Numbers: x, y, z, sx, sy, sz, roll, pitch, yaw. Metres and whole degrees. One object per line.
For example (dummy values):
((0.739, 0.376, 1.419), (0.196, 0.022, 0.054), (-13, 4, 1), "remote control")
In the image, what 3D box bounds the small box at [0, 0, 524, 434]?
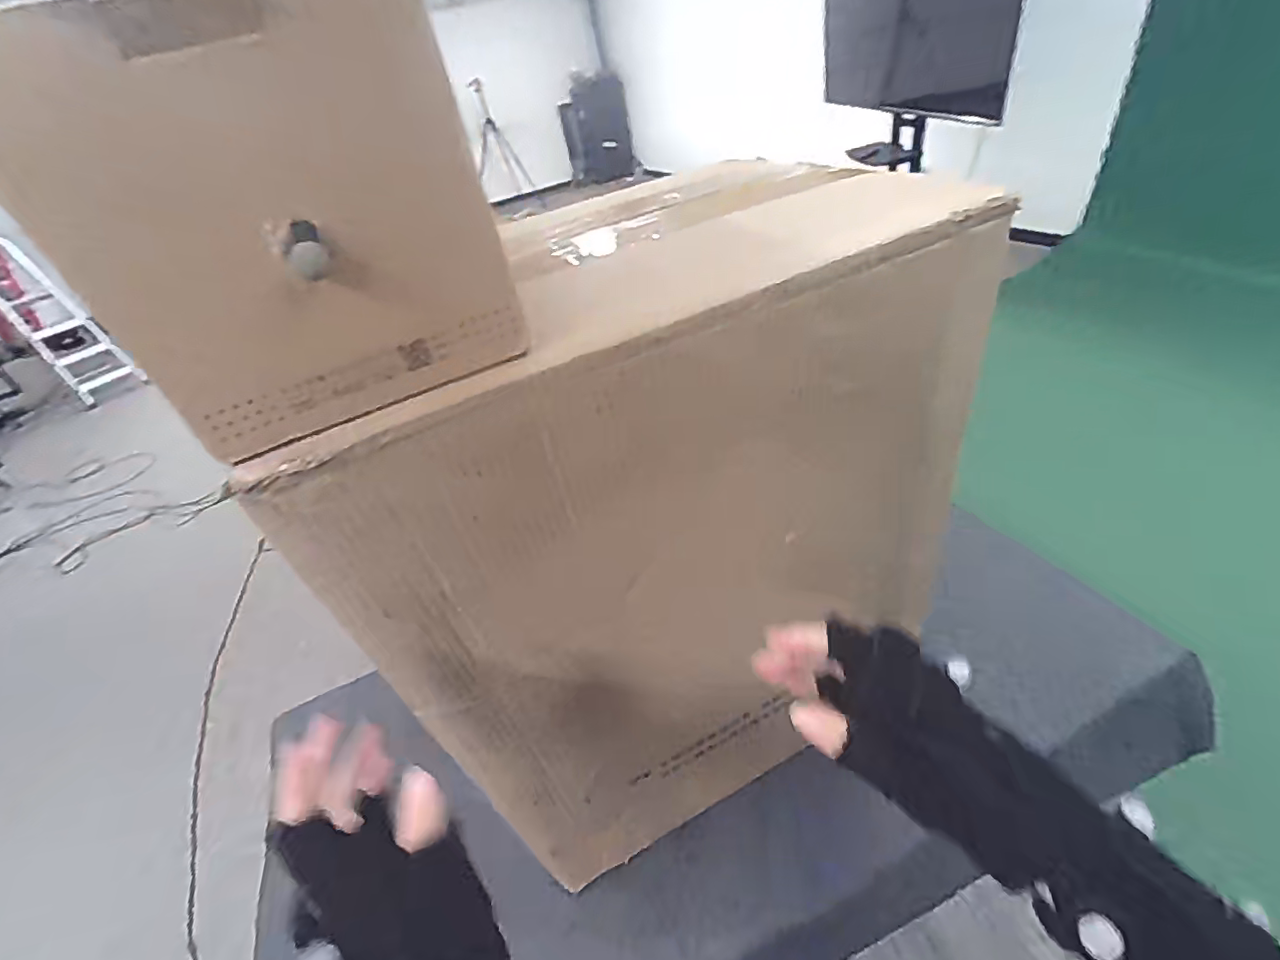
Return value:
((-0.180, -0.145, 0.295), (0.168, 0.176, 0.179), (-24, 41, -14), "small box")
